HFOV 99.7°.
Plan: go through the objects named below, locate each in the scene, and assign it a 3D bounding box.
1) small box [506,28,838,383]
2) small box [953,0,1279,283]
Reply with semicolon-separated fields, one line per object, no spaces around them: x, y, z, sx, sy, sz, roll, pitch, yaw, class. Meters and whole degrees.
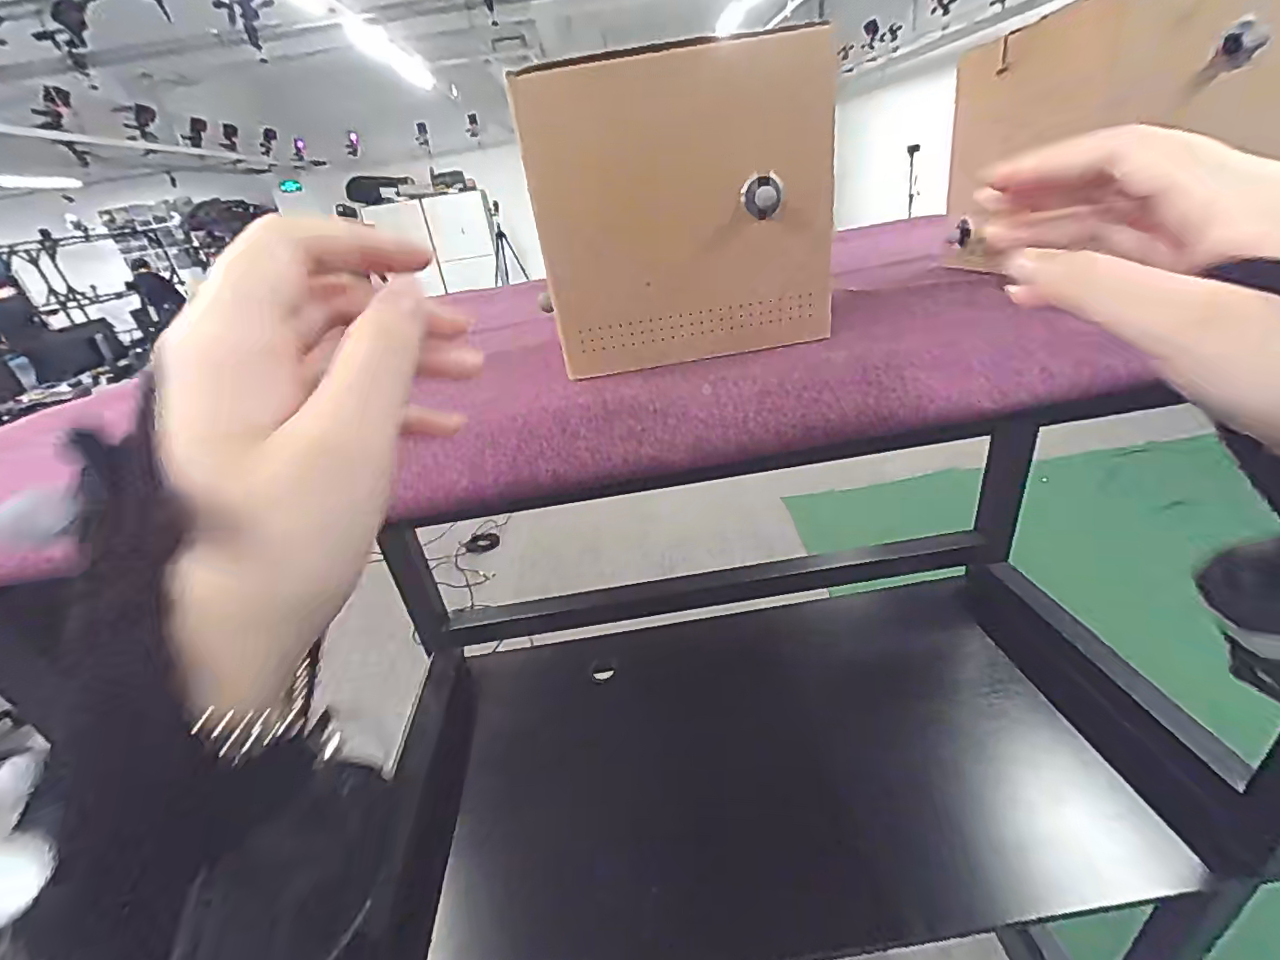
0.020;-0.183;0.382;0.179;0.176;0.168;-10;28;-1;small box
0.362;-0.251;0.404;0.179;0.176;0.168;-9;26;1;small box
